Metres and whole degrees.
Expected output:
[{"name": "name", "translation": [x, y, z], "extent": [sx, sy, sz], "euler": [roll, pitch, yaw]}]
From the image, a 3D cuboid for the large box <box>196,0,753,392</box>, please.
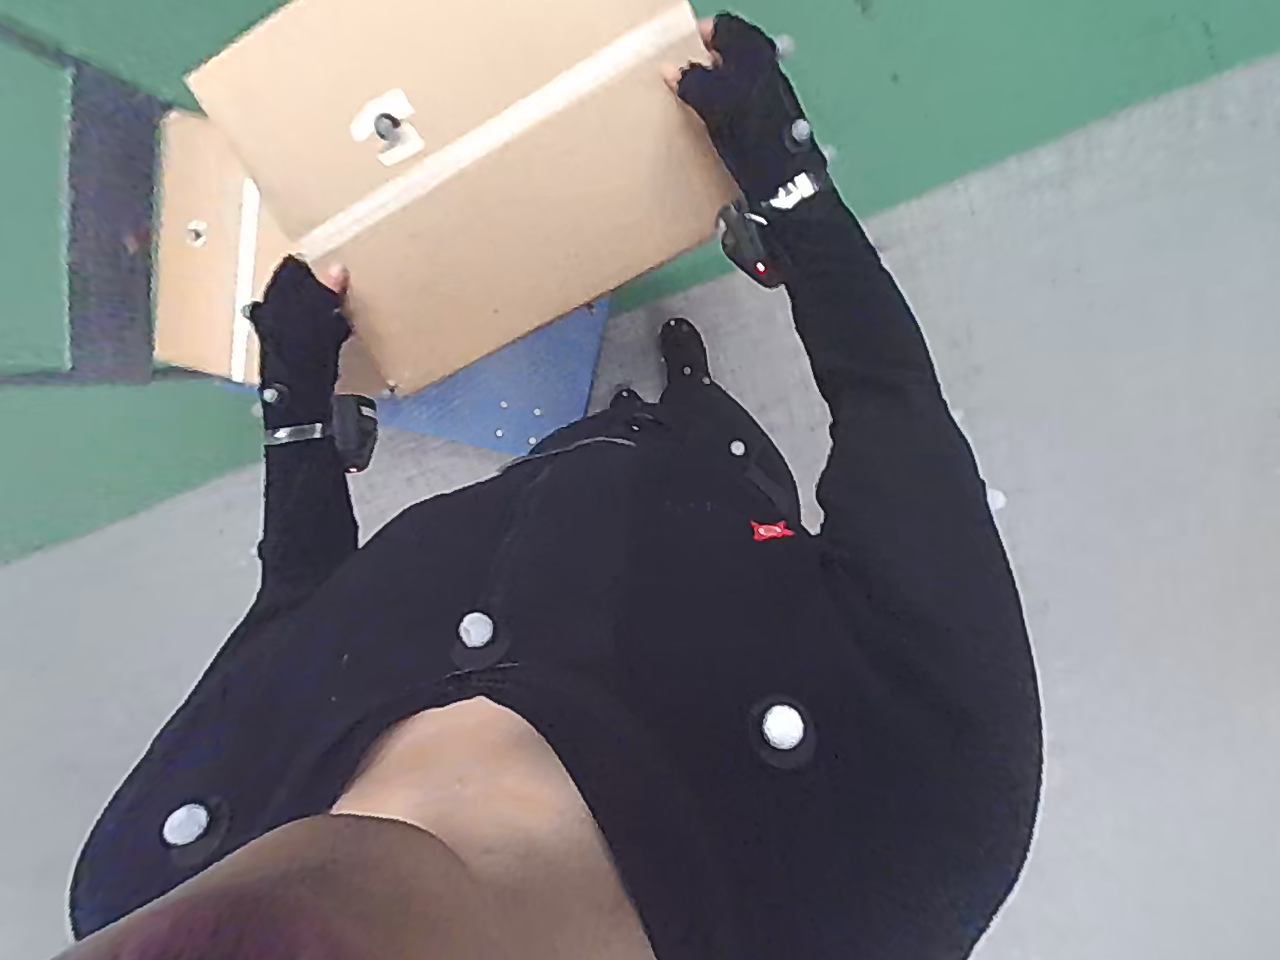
[{"name": "large box", "translation": [-0.134, -0.353, 0.610], "extent": [0.408, 0.320, 0.320], "euler": [-23, 109, 11]}]
